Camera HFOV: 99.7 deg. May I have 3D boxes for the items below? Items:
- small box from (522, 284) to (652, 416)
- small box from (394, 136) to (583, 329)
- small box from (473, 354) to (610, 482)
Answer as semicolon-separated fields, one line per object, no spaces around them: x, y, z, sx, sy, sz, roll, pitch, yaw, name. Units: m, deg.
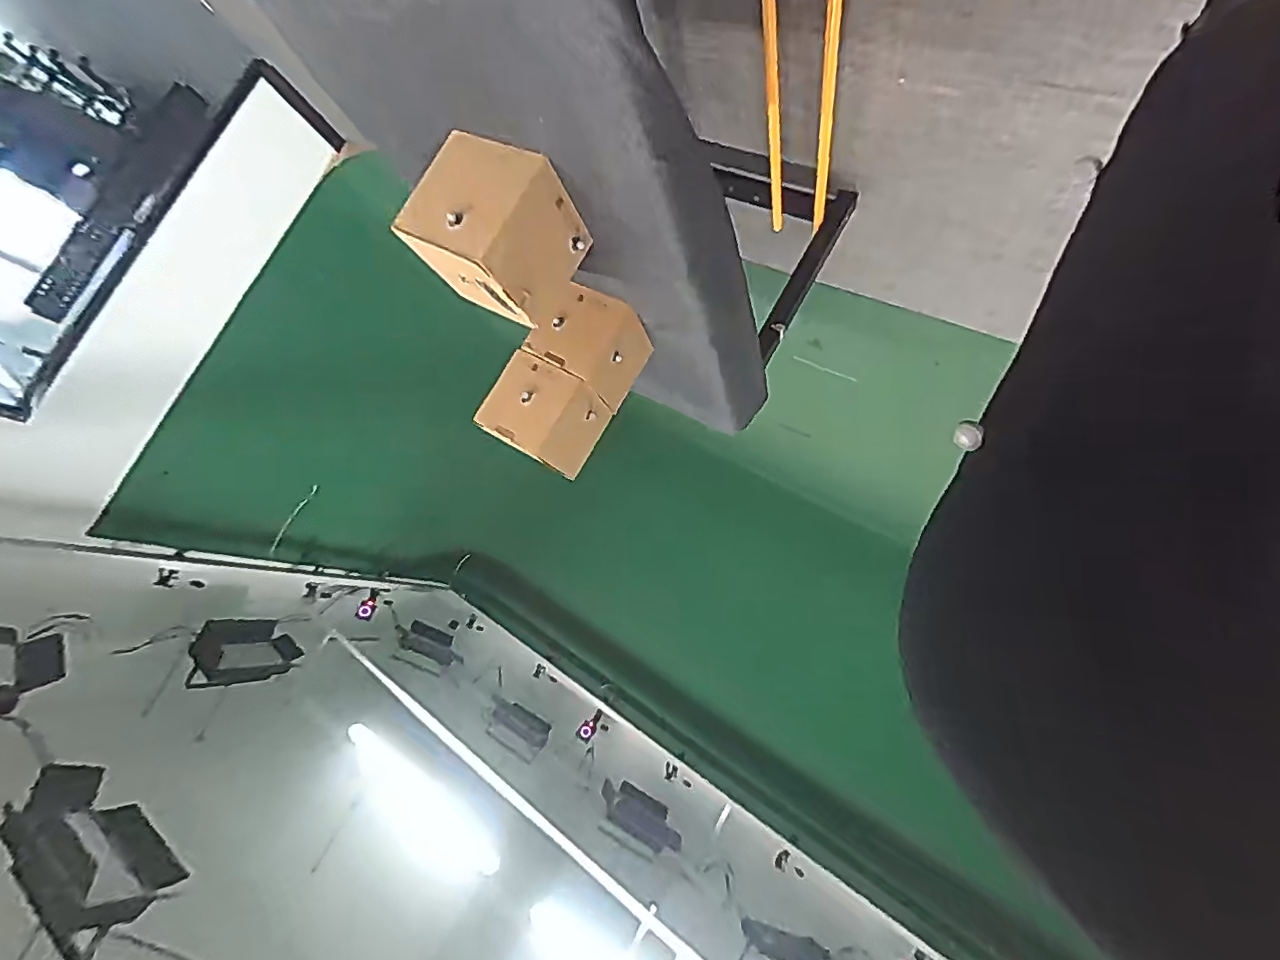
-0.098;-0.261;1.087;0.168;0.176;0.179;30;175;21;small box
-0.203;-0.355;0.780;0.179;0.176;0.168;29;174;22;small box
-0.187;-0.123;1.076;0.168;0.176;0.179;29;174;22;small box
